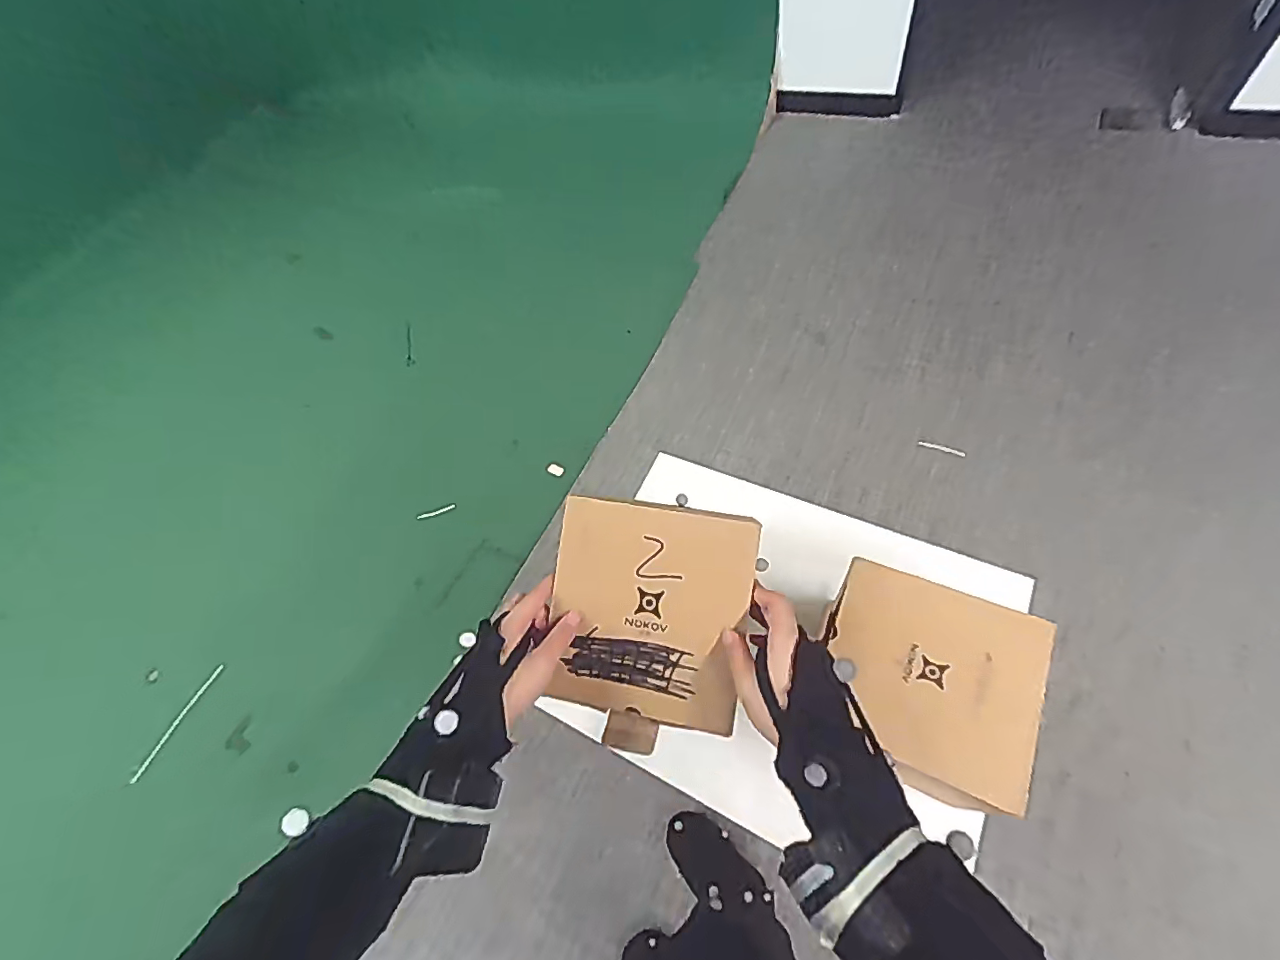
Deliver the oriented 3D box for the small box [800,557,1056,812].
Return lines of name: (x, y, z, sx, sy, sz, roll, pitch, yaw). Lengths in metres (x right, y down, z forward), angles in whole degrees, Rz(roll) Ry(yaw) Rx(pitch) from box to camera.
small box: (0.270, 0.205, 0.545, 0.179, 0.176, 0.168, 18, 68, 21)
